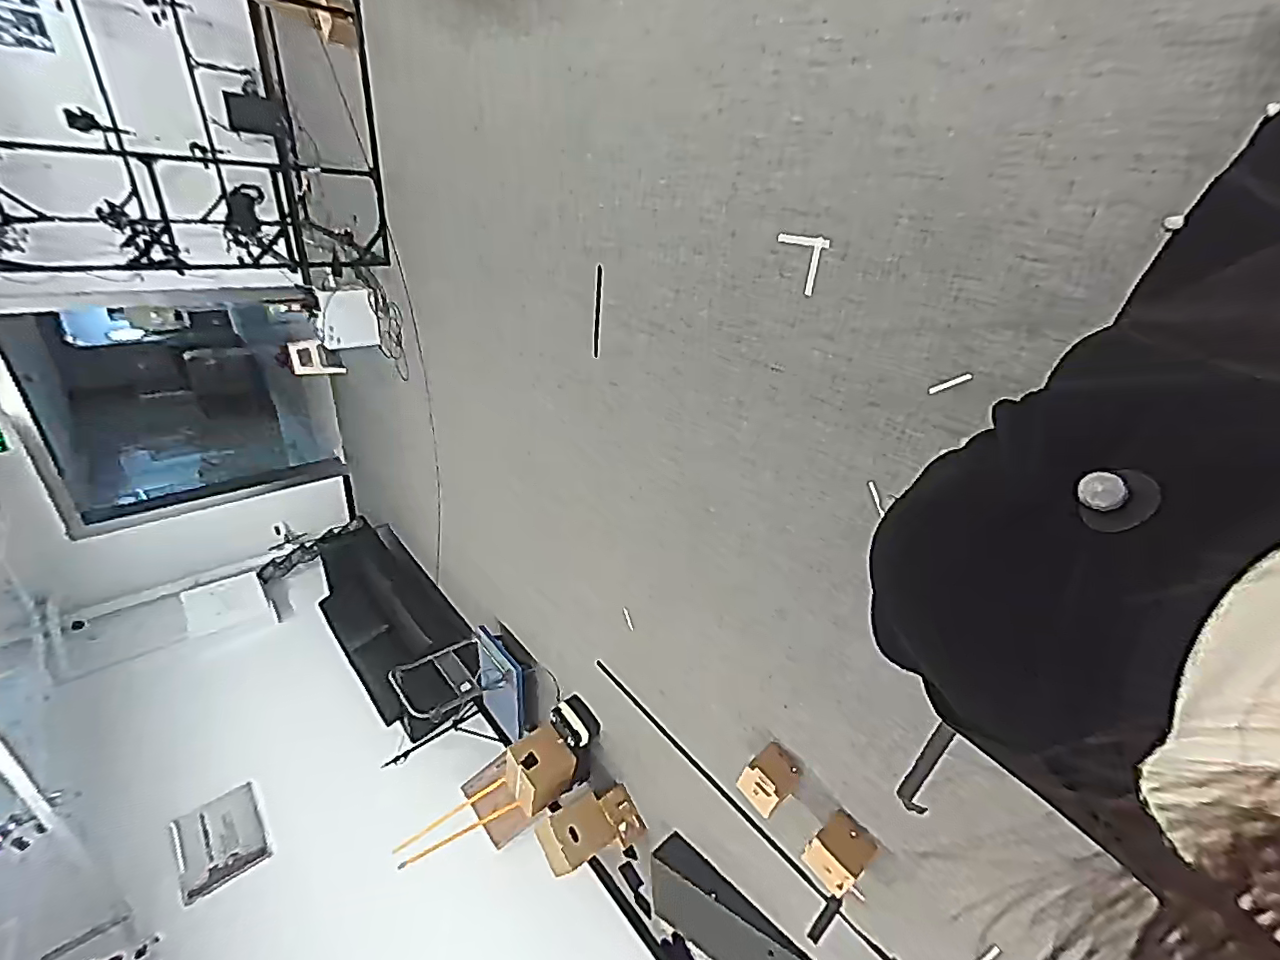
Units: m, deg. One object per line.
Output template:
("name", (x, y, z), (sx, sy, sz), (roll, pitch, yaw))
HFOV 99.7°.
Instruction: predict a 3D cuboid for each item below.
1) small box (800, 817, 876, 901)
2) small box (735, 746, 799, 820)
("small box", (0.735, 1.396, 2.010), (0.179, 0.176, 0.168), (39, 132, 35))
("small box", (0.521, 1.225, 2.197), (0.168, 0.176, 0.179), (40, 133, 34))
